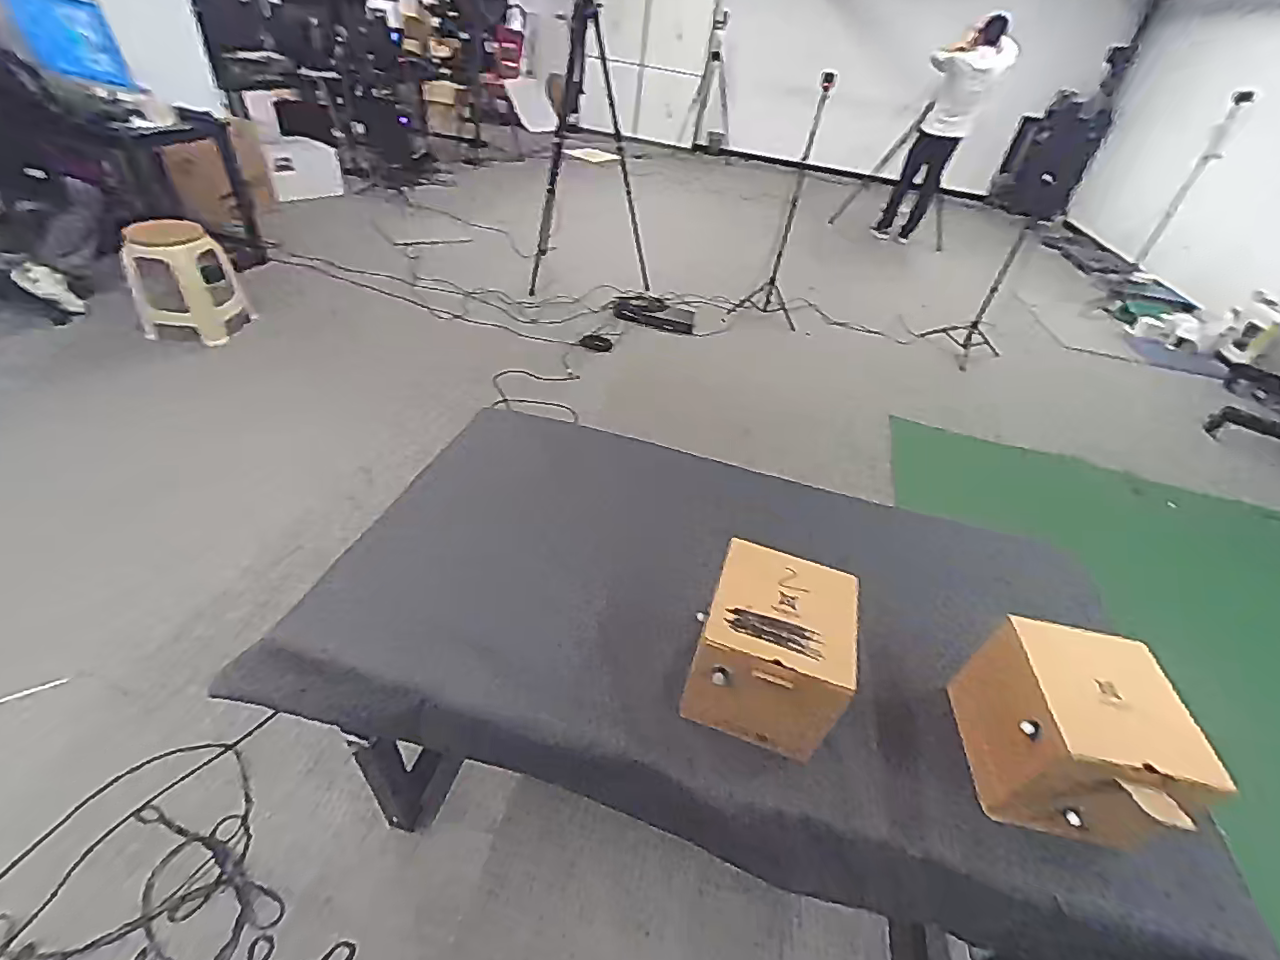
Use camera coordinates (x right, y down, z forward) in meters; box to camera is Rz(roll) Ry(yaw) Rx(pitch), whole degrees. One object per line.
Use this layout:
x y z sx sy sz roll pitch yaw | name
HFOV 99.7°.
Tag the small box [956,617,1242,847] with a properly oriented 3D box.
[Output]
0.515 0.300 0.648 0.168 0.176 0.179 11 40 4 | small box
